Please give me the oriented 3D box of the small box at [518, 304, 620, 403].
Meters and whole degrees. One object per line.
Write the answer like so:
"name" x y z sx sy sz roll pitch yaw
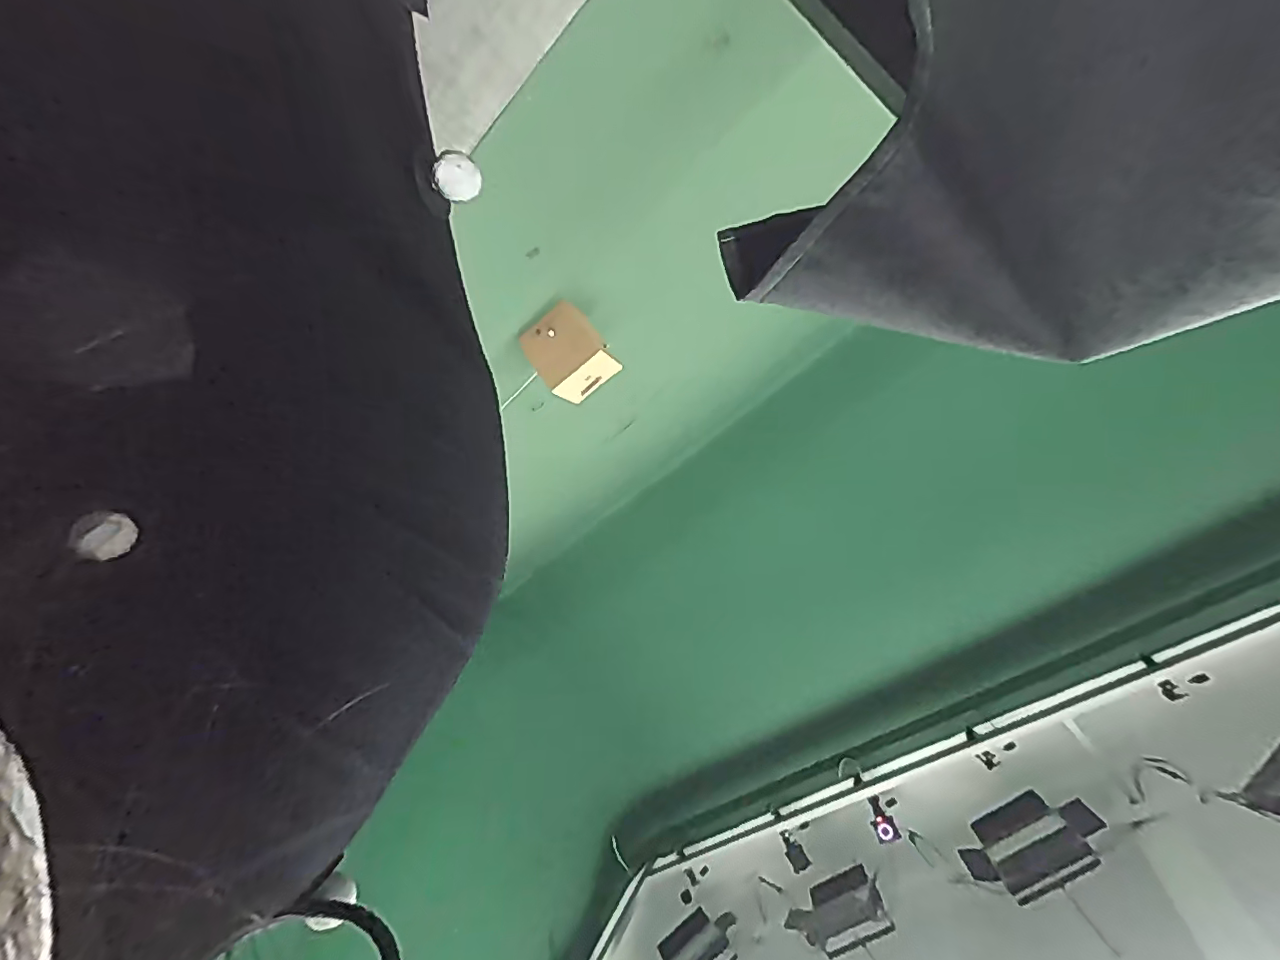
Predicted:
"small box" -0.183 -0.326 1.409 0.168 0.176 0.179 -38 169 11
